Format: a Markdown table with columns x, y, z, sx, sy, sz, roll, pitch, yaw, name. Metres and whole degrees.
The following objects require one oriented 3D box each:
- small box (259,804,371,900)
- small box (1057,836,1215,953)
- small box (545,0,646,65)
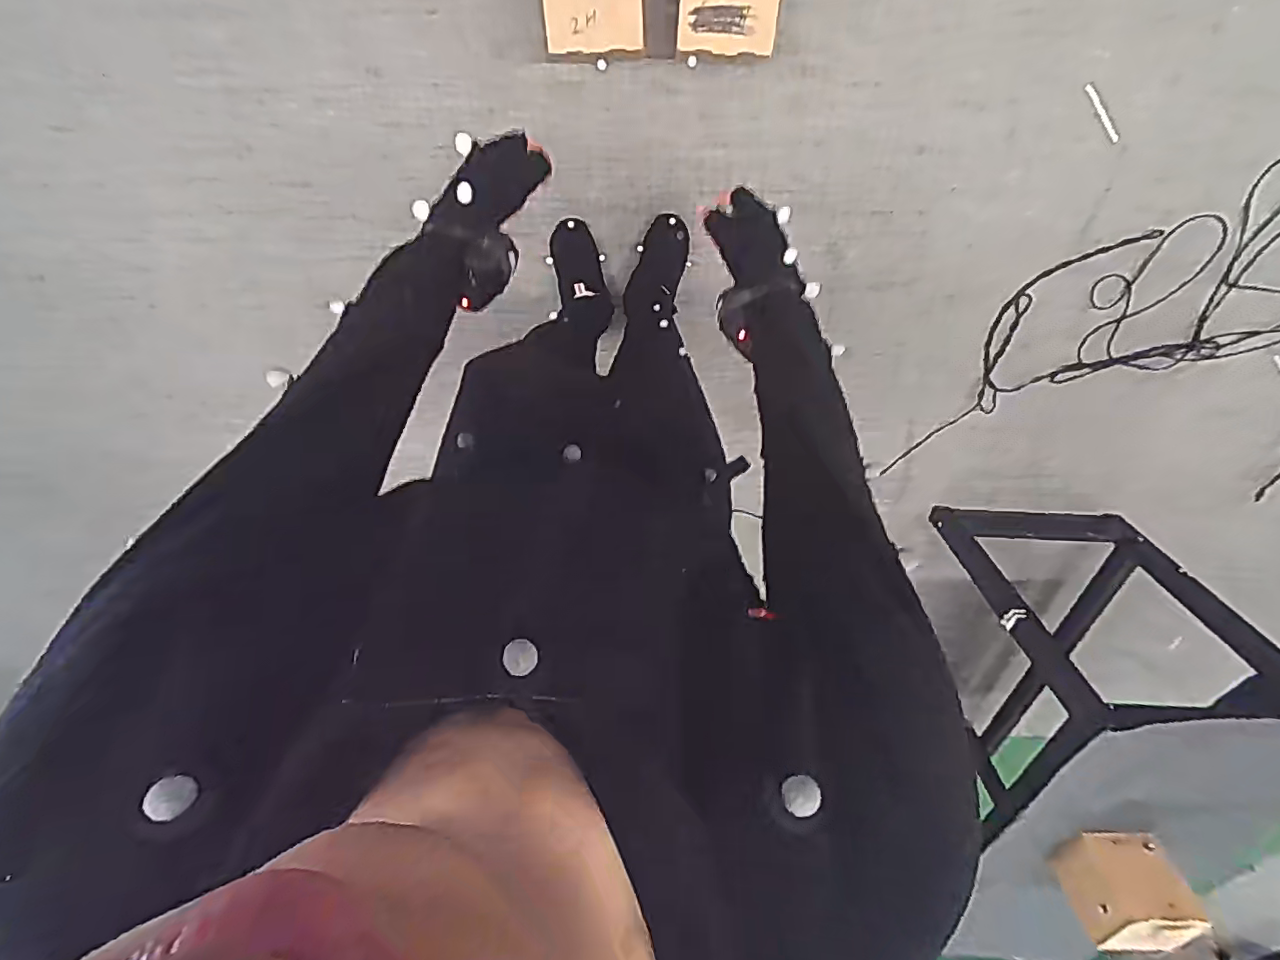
| x | y | z | sx | sy | sz | roll | pitch | yaw | name |
| --- | --- | --- | --- | --- | --- | --- | --- | --- | --- |
| -0.871 | 1.006 | 1.467 | 0.179 | 0.176 | 0.168 | -3 | 123 | 3 | small box |
| 1.097 | 0.930 | 1.217 | 0.168 | 0.176 | 0.179 | 1 | 124 | 1 | small box |
| -0.075 | -0.849 | 0.947 | 0.168 | 0.176 | 0.179 | -1 | 123 | 3 | small box |
